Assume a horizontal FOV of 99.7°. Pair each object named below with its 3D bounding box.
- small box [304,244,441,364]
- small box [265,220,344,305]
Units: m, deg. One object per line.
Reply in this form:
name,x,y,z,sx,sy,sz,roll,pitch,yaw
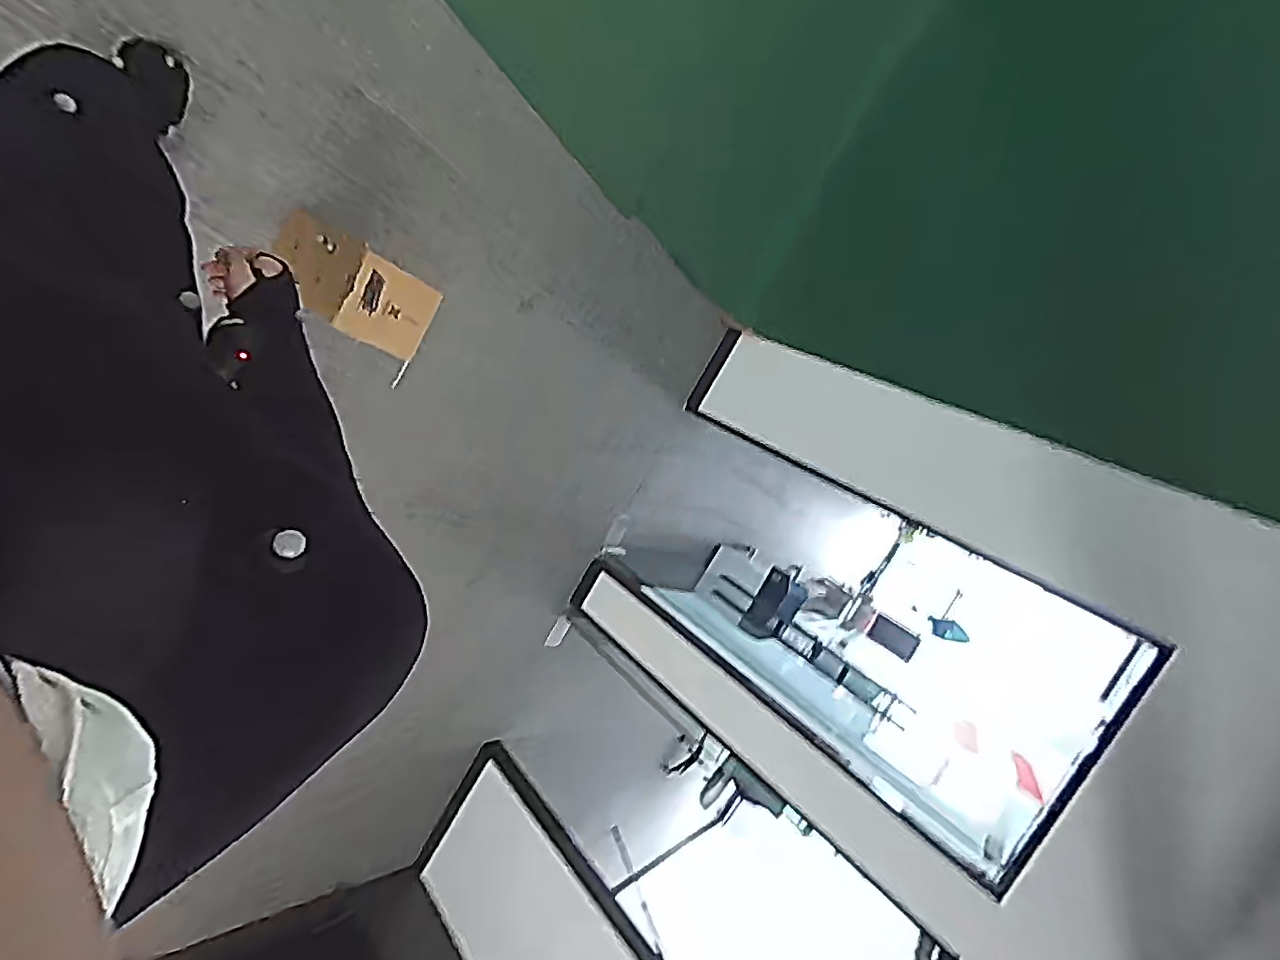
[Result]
small box,-0.567,-0.373,1.140,0.179,0.176,0.168,23,98,-56
small box,-0.789,-0.513,1.337,0.168,0.176,0.179,26,96,-55
